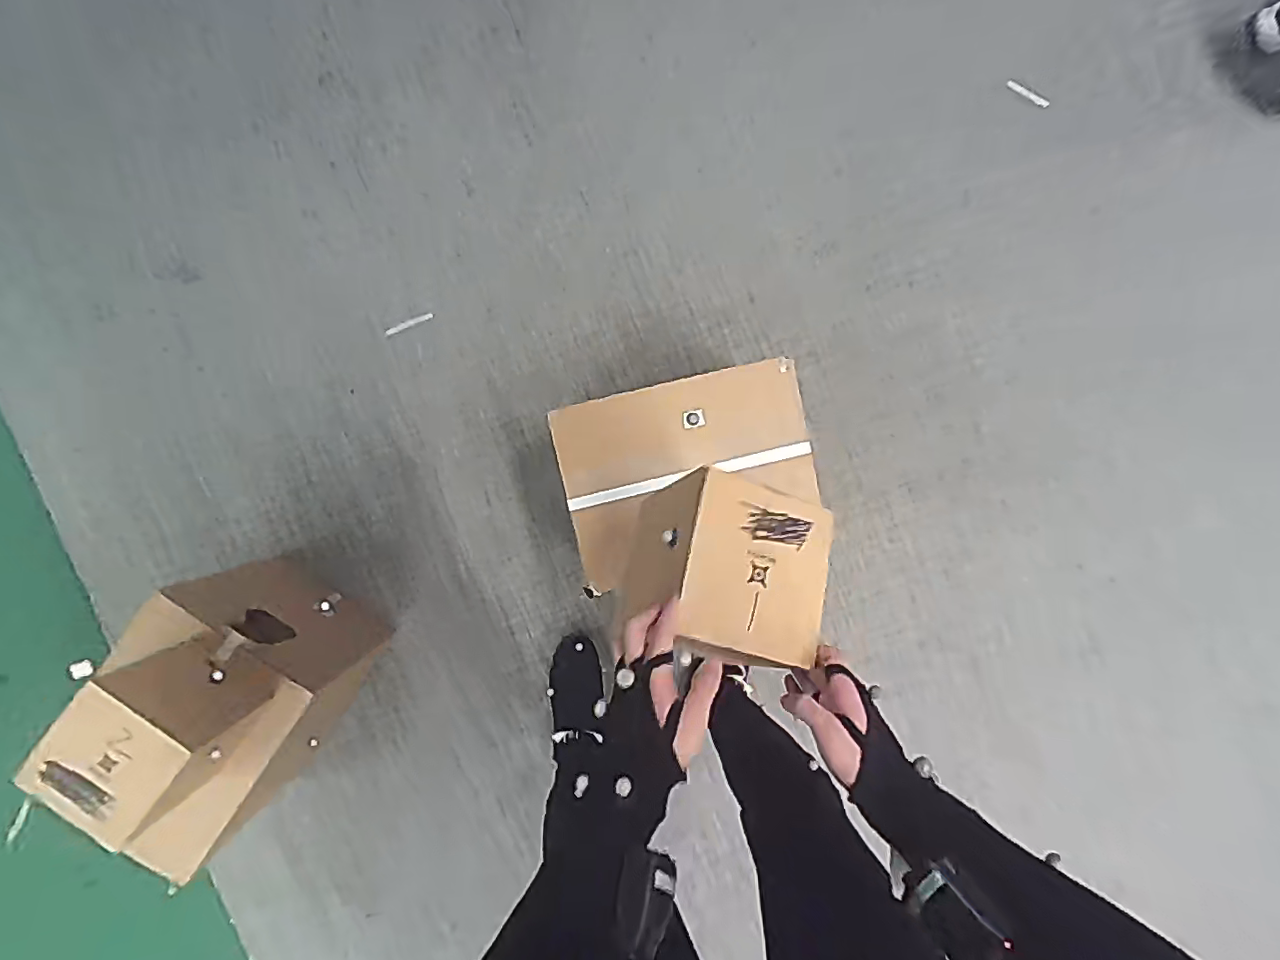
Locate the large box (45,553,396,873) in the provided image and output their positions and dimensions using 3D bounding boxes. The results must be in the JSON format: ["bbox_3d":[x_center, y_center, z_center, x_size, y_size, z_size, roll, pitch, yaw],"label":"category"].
[{"bbox_3d":[-0.763,0.409,1.046,0.320,0.320,0.408,34,93,-1],"label":"large box"}]

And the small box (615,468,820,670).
[{"bbox_3d":[0.083,0.111,0.623,0.168,0.176,0.179,18,68,-17],"label":"small box"}]
